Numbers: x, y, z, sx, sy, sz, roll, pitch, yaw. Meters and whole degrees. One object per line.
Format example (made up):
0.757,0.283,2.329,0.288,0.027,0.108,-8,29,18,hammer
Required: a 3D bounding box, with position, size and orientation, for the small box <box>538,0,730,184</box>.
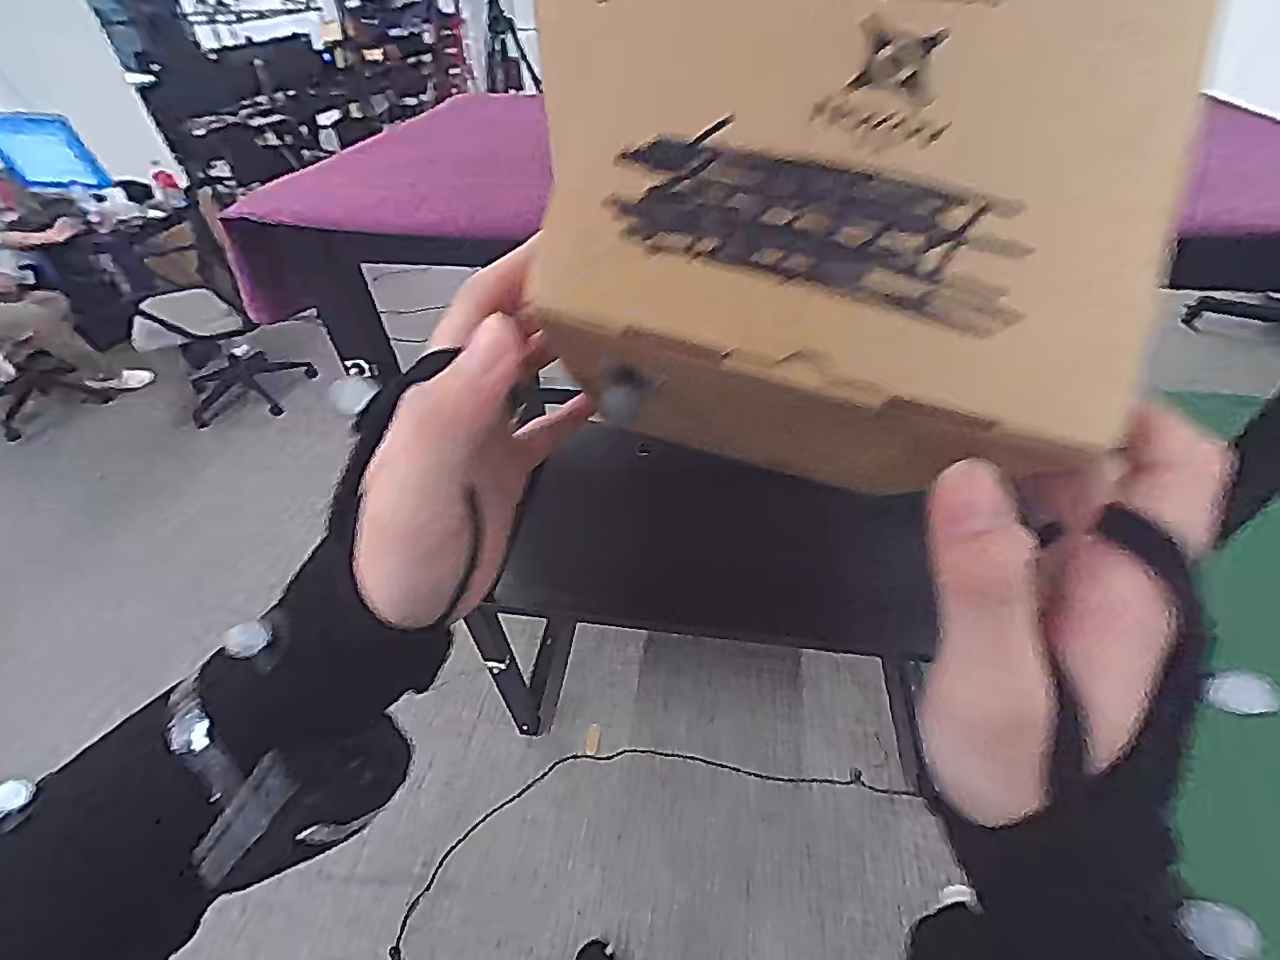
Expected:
0.005,-0.430,0.578,0.168,0.176,0.179,7,43,8,small box
